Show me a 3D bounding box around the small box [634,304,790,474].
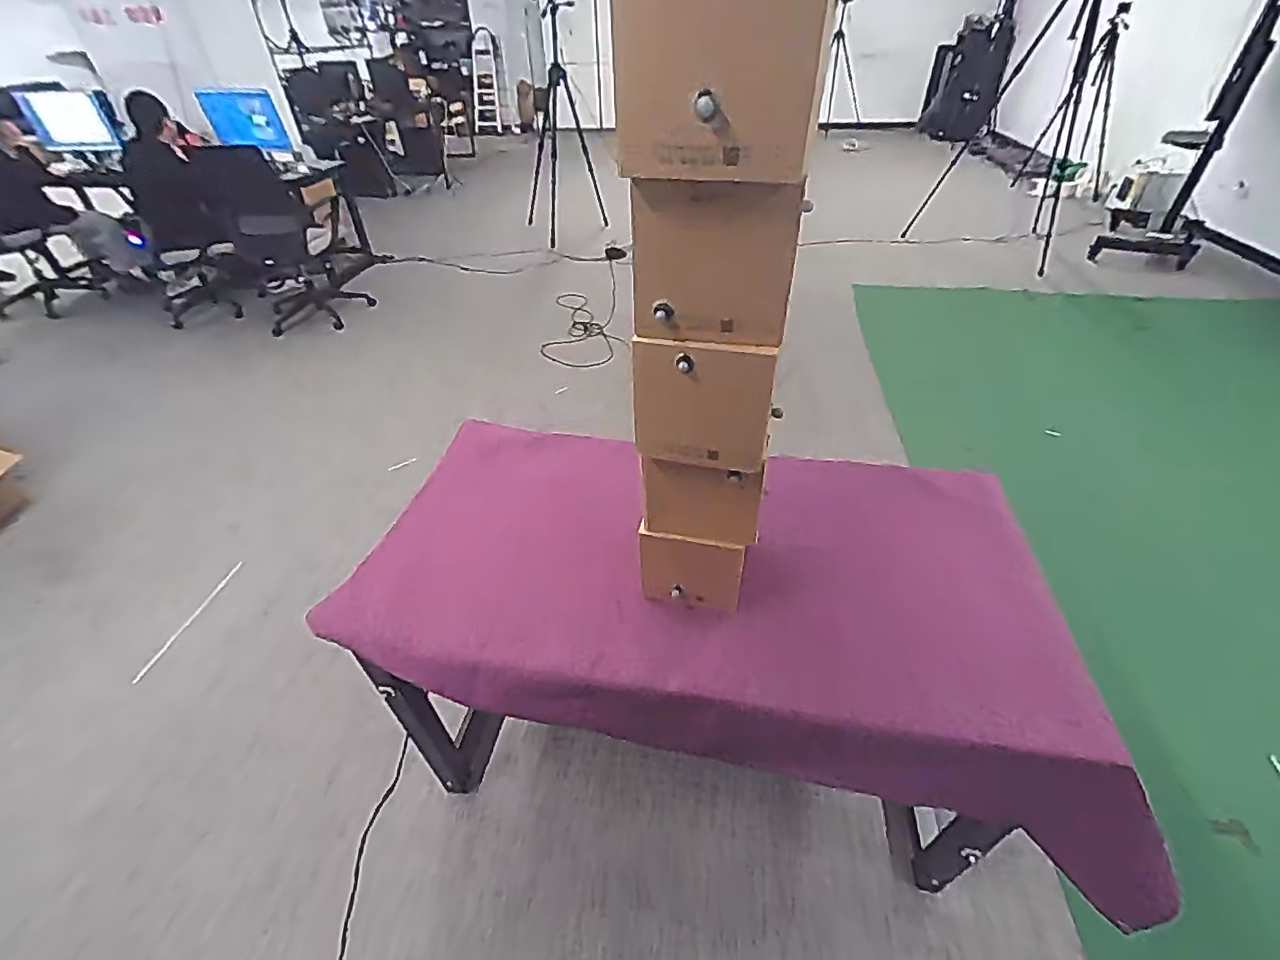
[{"bbox_3d":[0.094,-0.133,0.703,0.168,0.176,0.179,9,41,13],"label":"small box"}]

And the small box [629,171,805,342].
[{"bbox_3d":[0.089,-0.268,0.608,0.168,0.176,0.179,7,40,10],"label":"small box"}]

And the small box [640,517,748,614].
[{"bbox_3d":[0.101,0.100,0.931,0.168,0.176,0.179,8,42,12],"label":"small box"}]

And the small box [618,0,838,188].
[{"bbox_3d":[0.081,-0.376,0.482,0.168,0.176,0.179,10,42,14],"label":"small box"}]

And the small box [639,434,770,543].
[{"bbox_3d":[0.103,-0.023,0.827,0.179,0.176,0.168,7,41,11],"label":"small box"}]
